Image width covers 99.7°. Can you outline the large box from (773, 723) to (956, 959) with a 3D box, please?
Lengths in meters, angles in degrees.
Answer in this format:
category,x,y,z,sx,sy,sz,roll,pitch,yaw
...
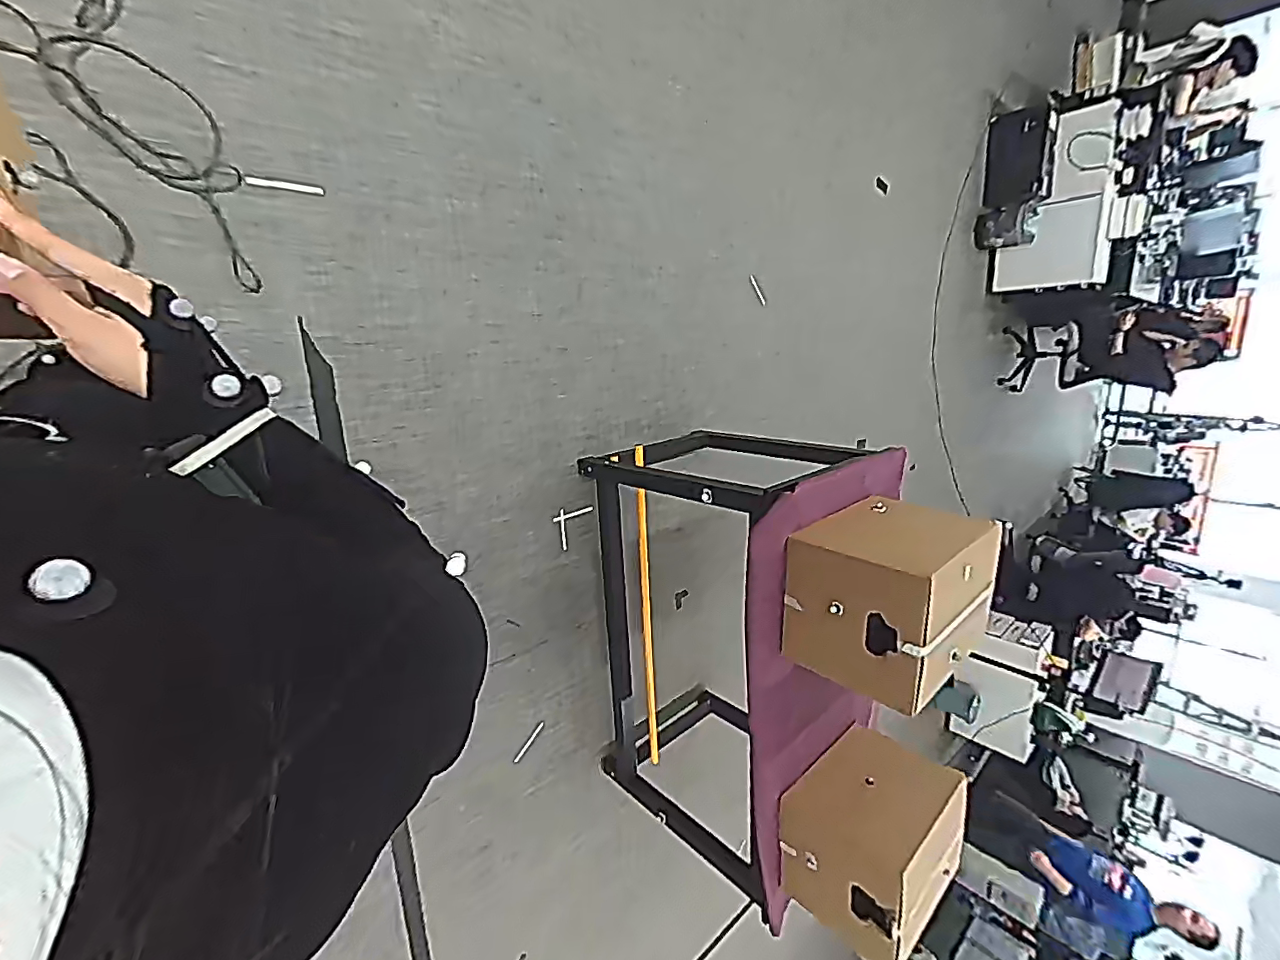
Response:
category,x,y,z,sx,sy,sz,roll,pitch,yaw
large box,0.595,0.935,1.437,0.408,0.320,0.320,-16,109,-41

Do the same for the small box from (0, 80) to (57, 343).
category,x,y,z,sx,sy,sz,roll,pitch,yaw
small box,-0.490,-0.195,0.319,0.168,0.176,0.179,-11,89,-39
